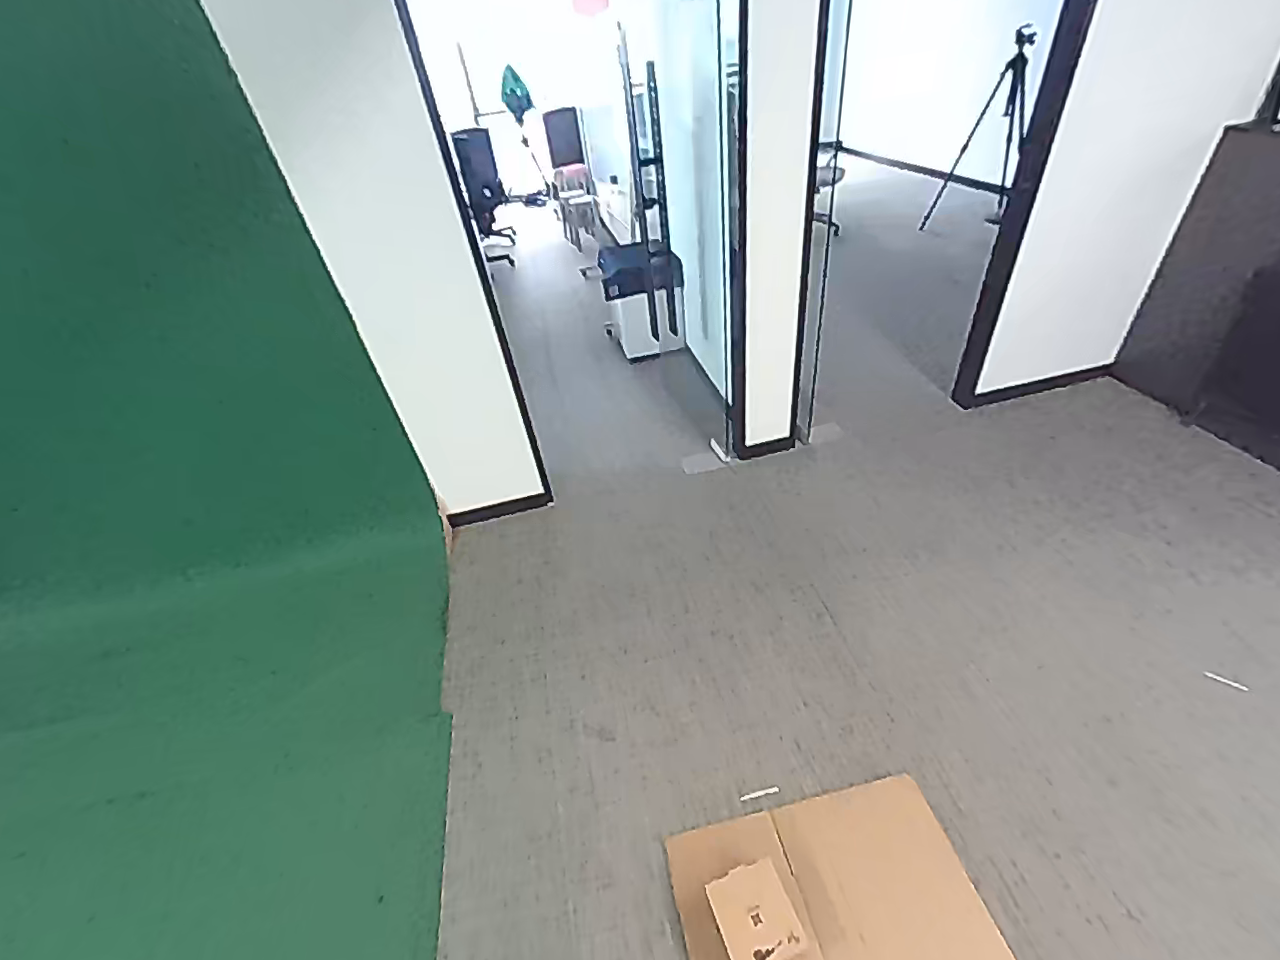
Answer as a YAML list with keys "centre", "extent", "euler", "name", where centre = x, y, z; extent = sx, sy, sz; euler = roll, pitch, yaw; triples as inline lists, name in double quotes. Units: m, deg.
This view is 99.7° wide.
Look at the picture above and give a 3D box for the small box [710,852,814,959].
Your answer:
- centre: [0.263, 0.981, 1.205]
  extent: [0.168, 0.176, 0.179]
  euler: [-17, 40, -10]
  name: "small box"
